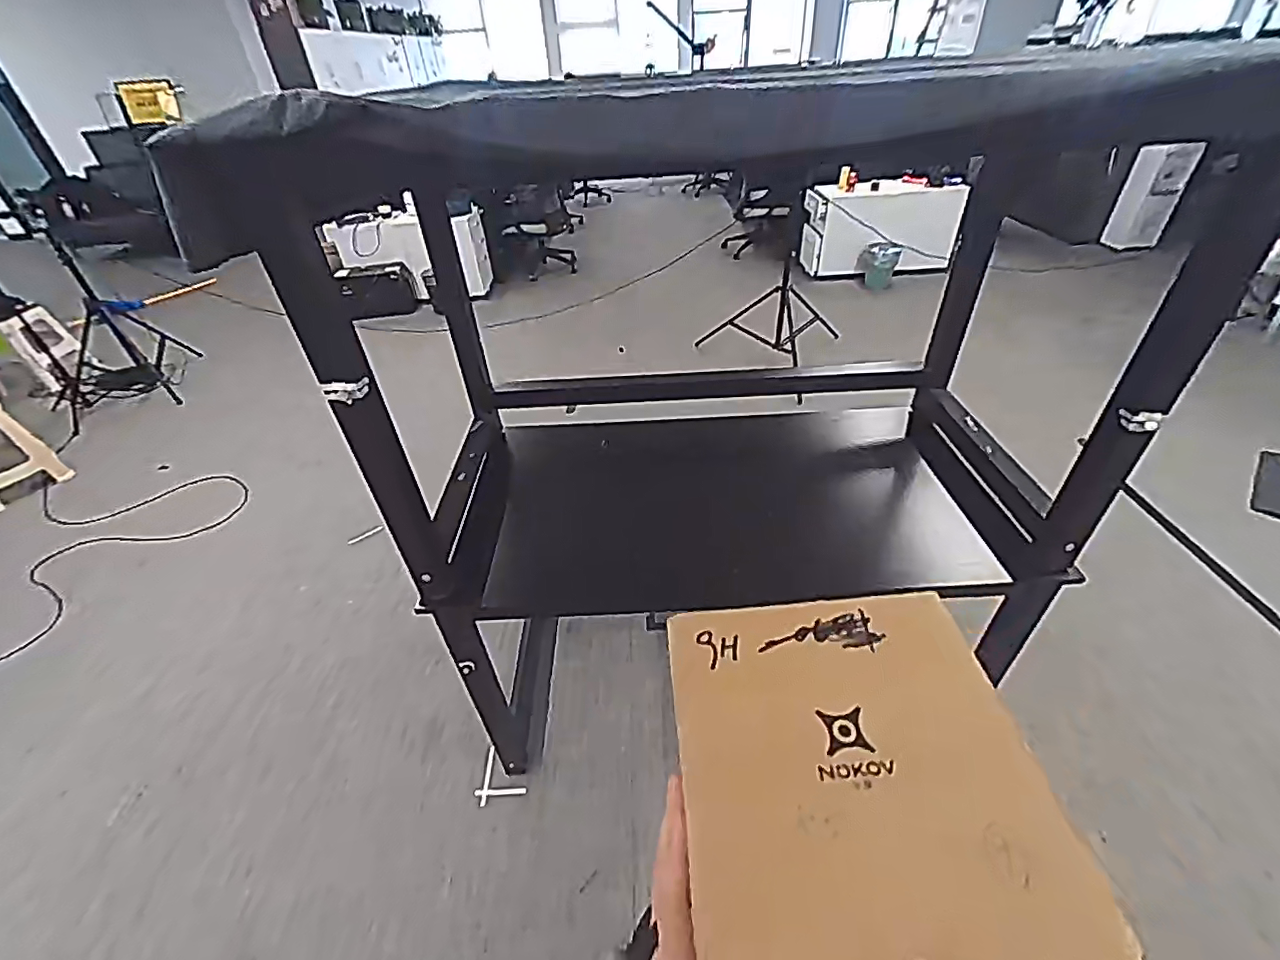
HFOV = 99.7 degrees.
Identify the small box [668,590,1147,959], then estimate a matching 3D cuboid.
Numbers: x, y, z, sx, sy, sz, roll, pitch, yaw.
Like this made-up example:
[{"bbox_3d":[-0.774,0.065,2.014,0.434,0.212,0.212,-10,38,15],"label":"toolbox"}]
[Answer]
[{"bbox_3d":[0.107,0.189,0.310,0.168,0.176,0.179,-5,41,1],"label":"small box"}]
